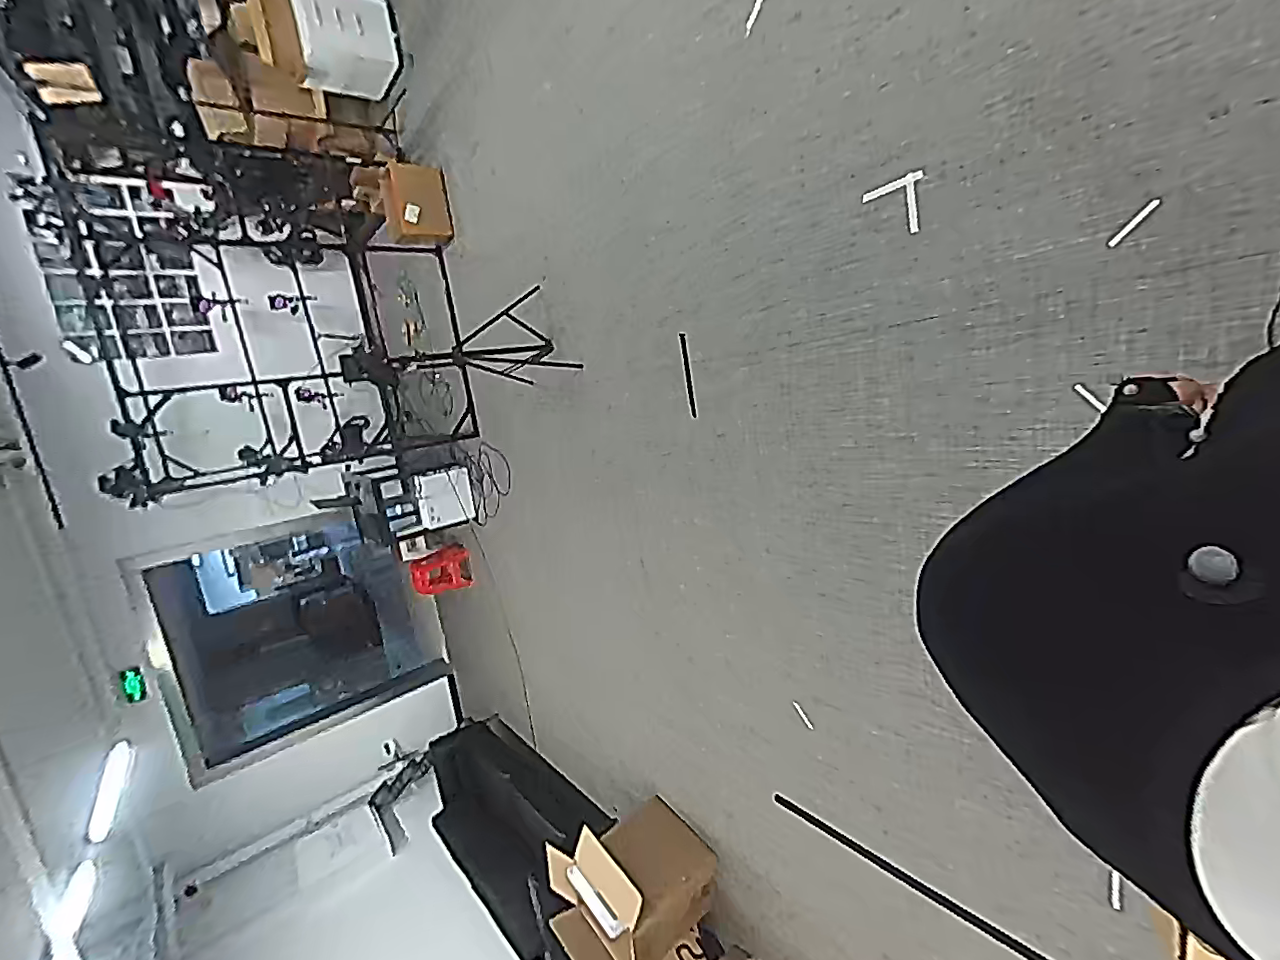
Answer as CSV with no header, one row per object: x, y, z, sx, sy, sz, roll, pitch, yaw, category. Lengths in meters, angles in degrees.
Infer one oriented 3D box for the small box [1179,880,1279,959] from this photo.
1.234,0.989,1.108,0.168,0.176,0.179,6,108,51,small box
